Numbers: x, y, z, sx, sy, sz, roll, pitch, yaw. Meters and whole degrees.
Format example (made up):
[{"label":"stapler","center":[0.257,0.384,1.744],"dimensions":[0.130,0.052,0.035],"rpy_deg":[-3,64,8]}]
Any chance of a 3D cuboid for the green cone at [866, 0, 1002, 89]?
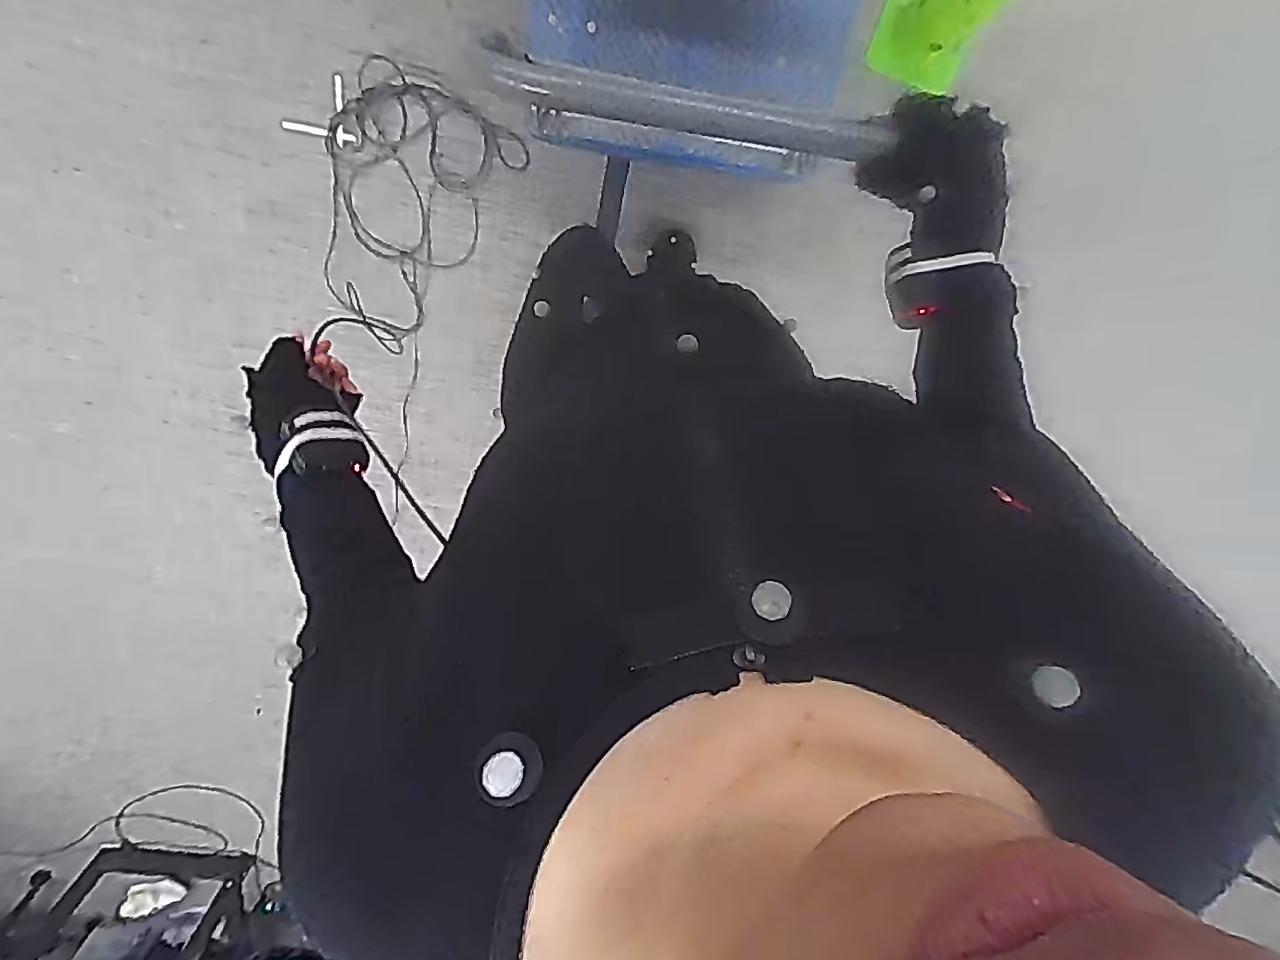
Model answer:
[{"label":"green cone","center":[0.597,-0.873,0.963],"dimensions":[0.202,0.368,0.200],"rpy_deg":[13,115,-10]}]
